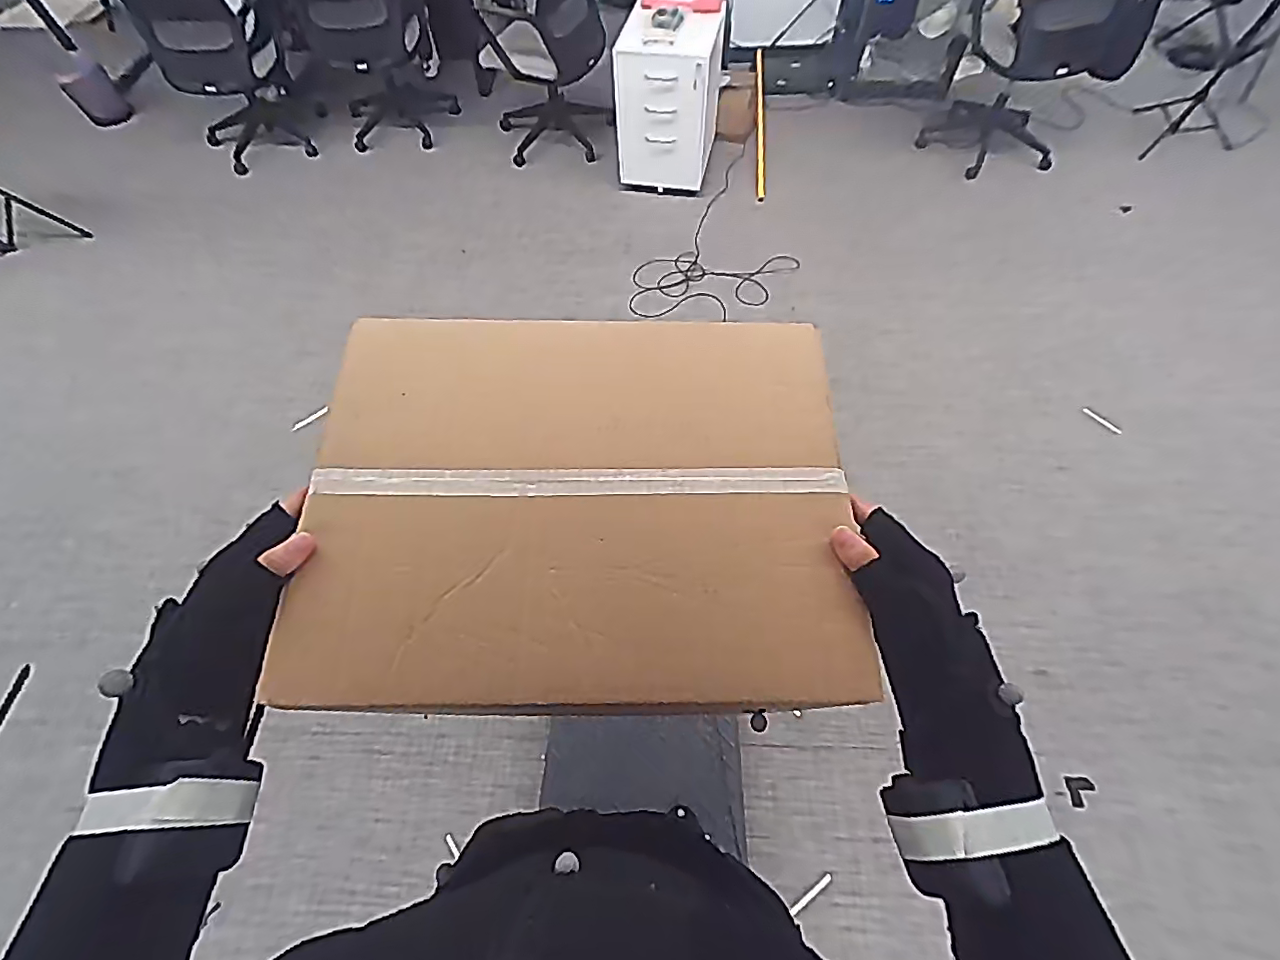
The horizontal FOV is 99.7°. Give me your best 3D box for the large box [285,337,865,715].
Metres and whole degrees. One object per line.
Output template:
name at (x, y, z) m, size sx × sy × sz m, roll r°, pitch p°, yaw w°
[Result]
large box at (-0.046, 0.072, 0.562) m, size 0.408 × 0.320 × 0.320 m, roll 0°, pitch 65°, yaw -1°
